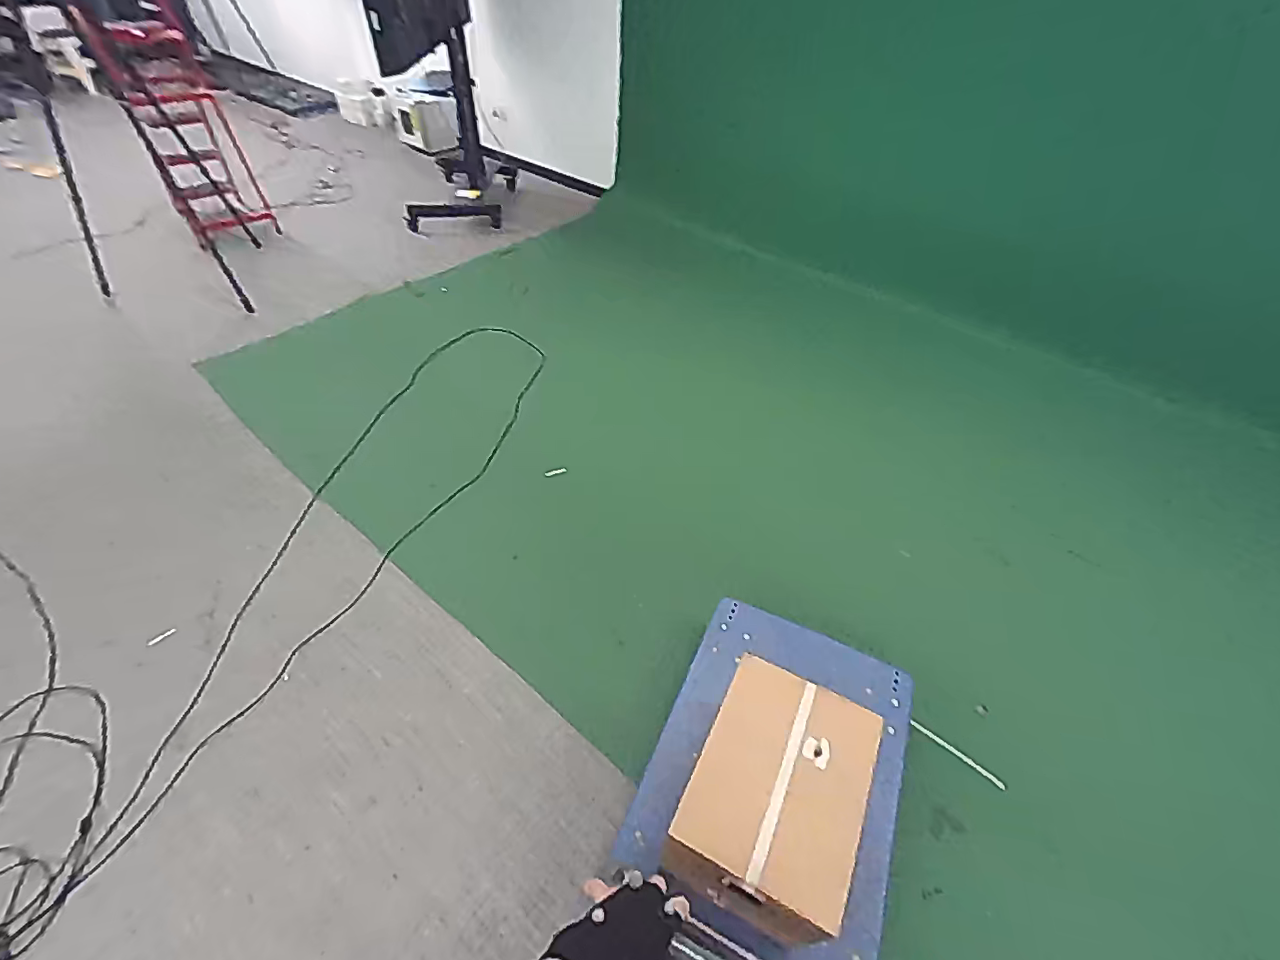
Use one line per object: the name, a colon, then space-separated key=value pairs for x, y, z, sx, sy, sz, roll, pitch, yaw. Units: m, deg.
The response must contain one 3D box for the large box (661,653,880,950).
large box: x=0.270 y=0.668 z=1.147 sx=0.320 sy=0.320 sz=0.408 roll=23 pitch=49 yaw=17
